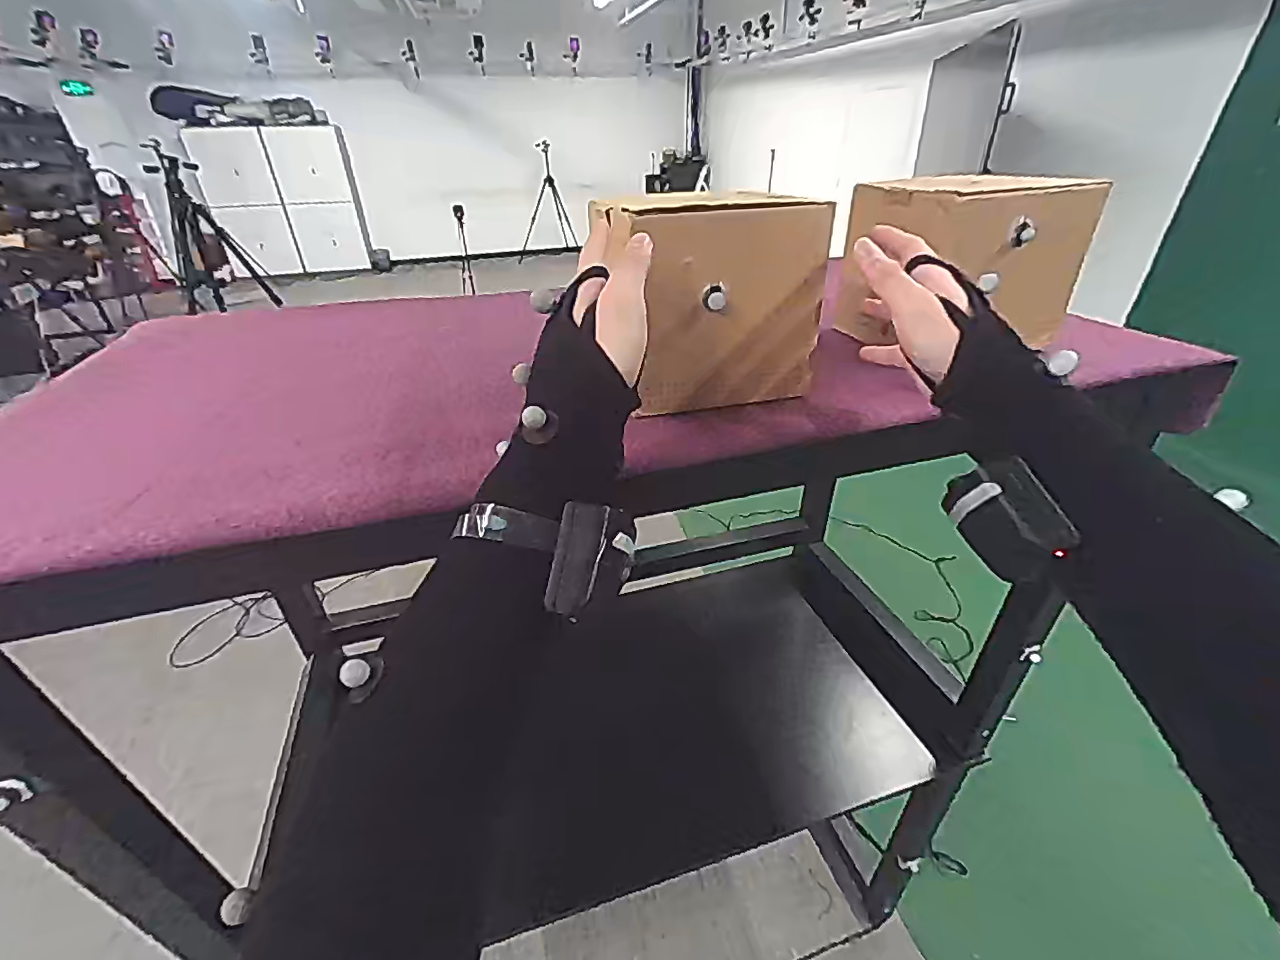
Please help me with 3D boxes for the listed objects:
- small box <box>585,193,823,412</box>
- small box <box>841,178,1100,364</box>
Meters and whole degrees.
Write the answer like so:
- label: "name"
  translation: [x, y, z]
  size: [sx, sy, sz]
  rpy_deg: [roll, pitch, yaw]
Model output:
- label: "small box"
  translation: [0.053, -0.177, 0.528]
  size: [0.179, 0.176, 0.168]
  rpy_deg: [-10, 33, -11]
- label: "small box"
  translation: [0.345, -0.238, 0.609]
  size: [0.179, 0.176, 0.168]
  rpy_deg: [-9, 32, -9]
